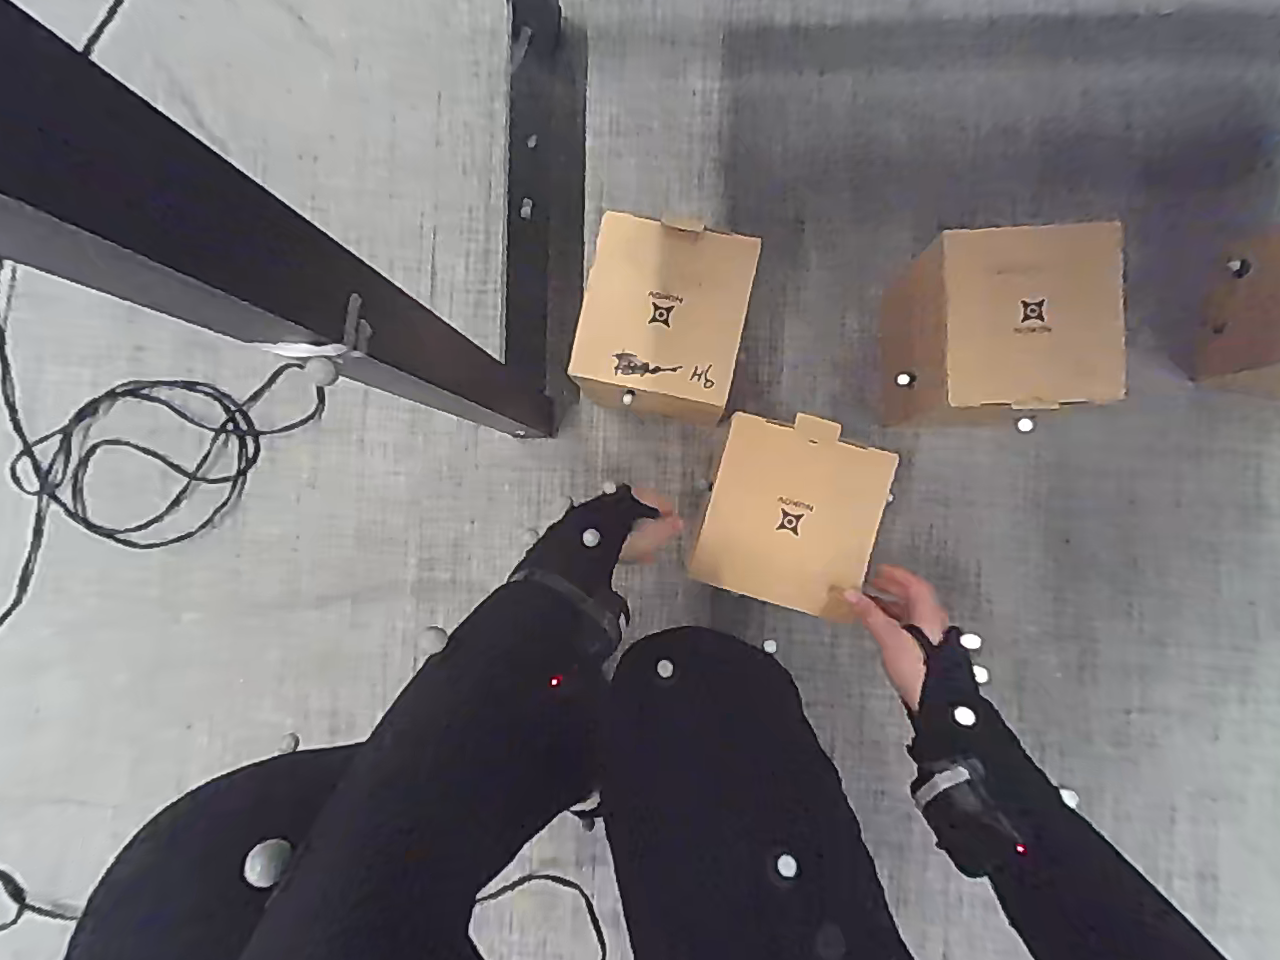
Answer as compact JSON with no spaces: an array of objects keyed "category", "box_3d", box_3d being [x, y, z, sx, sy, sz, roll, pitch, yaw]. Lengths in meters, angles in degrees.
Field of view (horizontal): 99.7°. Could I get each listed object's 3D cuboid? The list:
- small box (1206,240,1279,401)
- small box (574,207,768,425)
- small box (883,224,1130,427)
[{"category":"small box","box_3d":[0.768,-0.173,0.562,0.179,0.176,0.168,15,90,3]},{"category":"small box","box_3d":[0.036,-0.173,0.620,0.168,0.176,0.179,13,89,6]},{"category":"small box","box_3d":[0.381,-0.153,0.591,0.168,0.176,0.179,0,87,3]}]
